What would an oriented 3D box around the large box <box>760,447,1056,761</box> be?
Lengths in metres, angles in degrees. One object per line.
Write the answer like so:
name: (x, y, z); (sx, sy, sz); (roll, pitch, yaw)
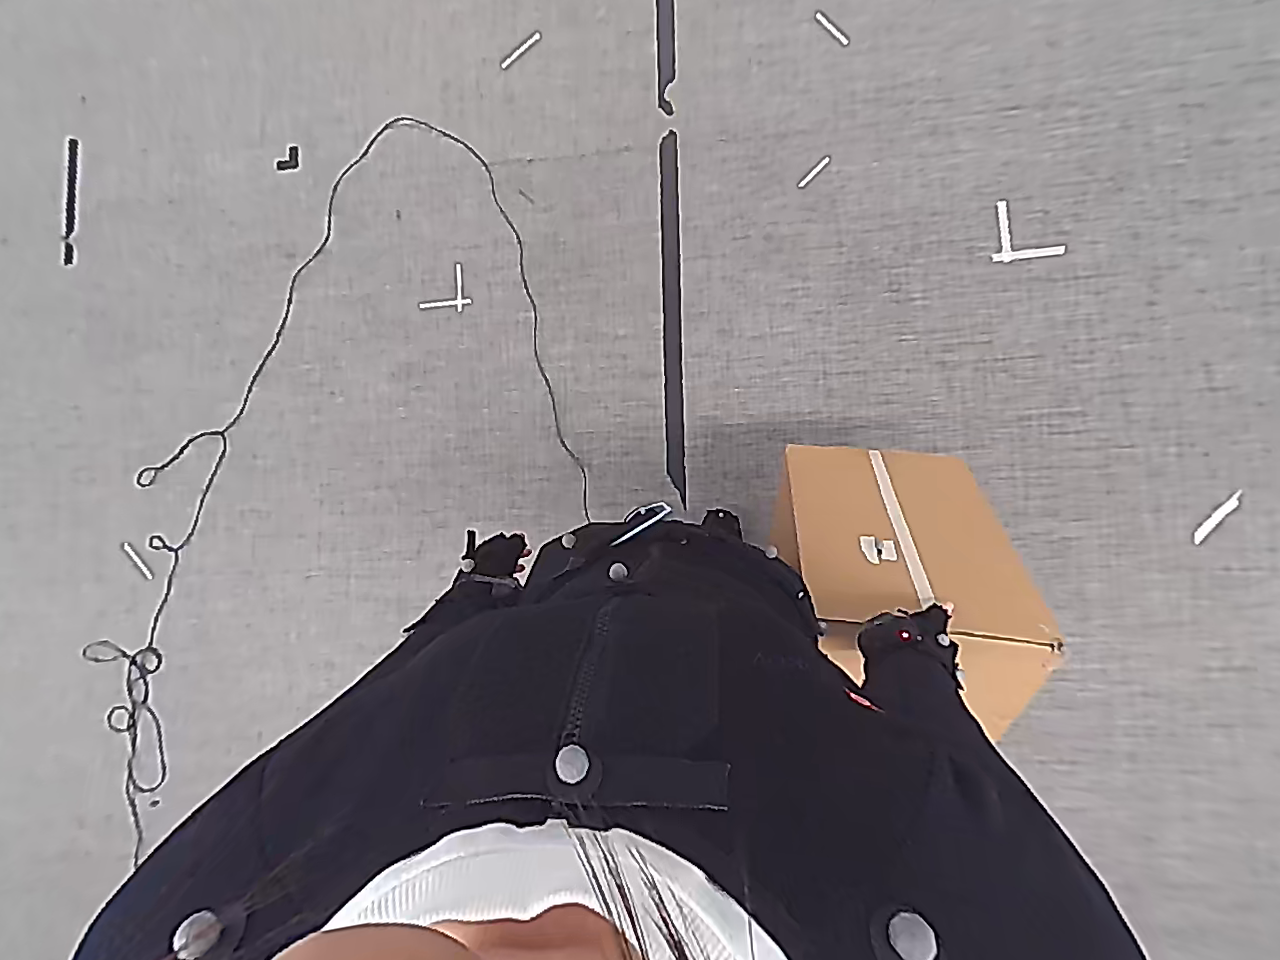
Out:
large box: (0.387, 0.191, 0.922); (0.320, 0.408, 0.320); (5, 129, 7)
